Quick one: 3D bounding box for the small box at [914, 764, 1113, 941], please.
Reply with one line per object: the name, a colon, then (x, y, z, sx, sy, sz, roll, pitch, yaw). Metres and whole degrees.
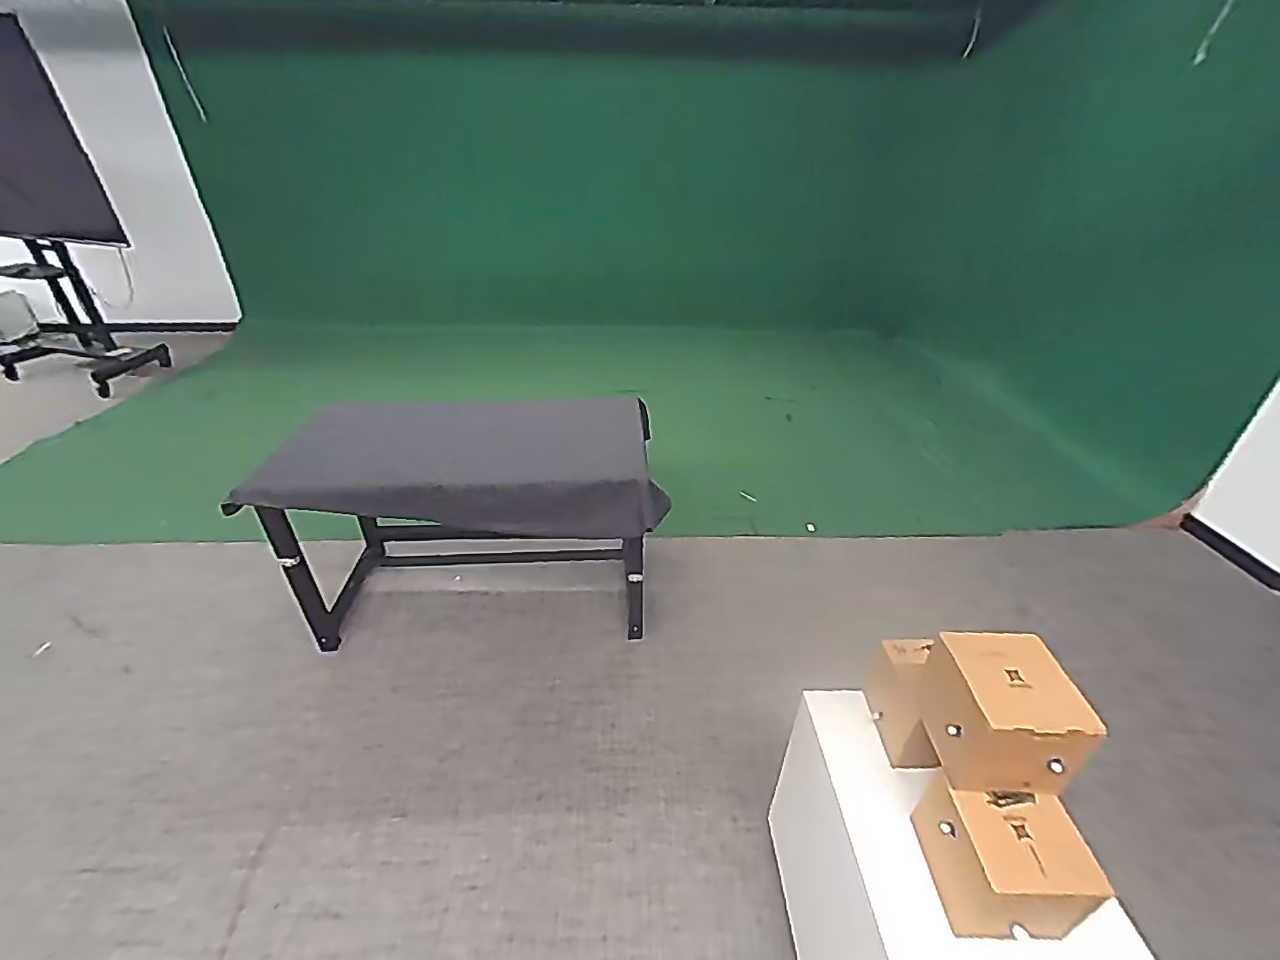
small box: (0.555, 0.572, 0.838, 0.168, 0.176, 0.179, 1, 34, 1)

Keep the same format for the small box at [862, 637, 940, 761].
small box: (0.559, 0.430, 1.056, 0.168, 0.176, 0.179, 0, 35, -1)

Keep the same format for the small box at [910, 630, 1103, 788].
small box: (0.563, 0.364, 0.861, 0.168, 0.176, 0.179, 1, 32, 0)
